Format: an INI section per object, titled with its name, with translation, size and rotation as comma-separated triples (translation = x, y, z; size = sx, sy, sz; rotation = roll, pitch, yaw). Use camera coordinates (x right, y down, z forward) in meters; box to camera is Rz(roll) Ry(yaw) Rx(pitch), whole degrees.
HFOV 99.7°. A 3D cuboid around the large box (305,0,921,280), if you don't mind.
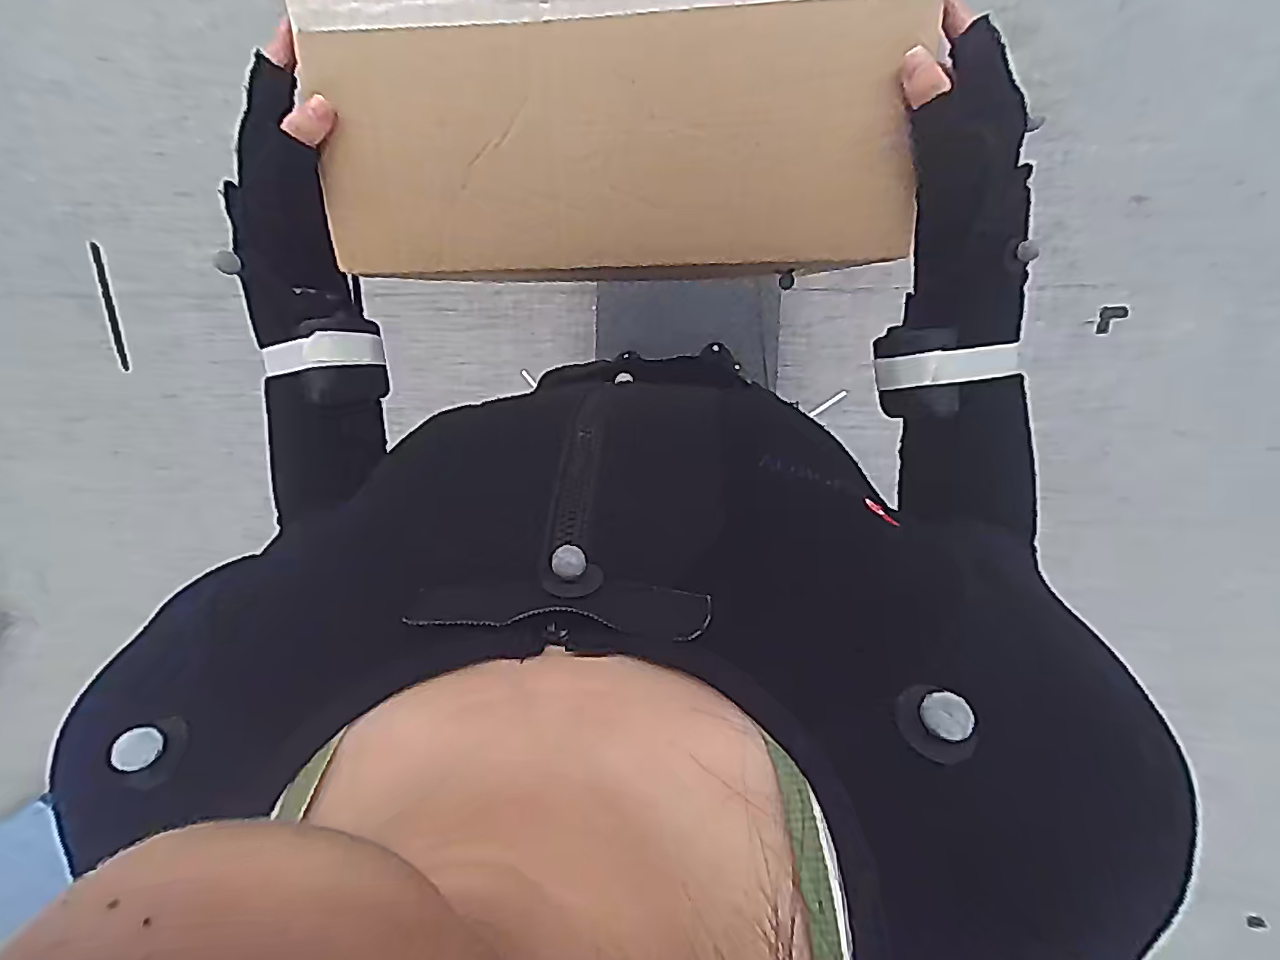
[large box]
translation = -0.011, -0.351, 0.486
size = 0.408, 0.320, 0.320
rotation = 0, 108, 4
